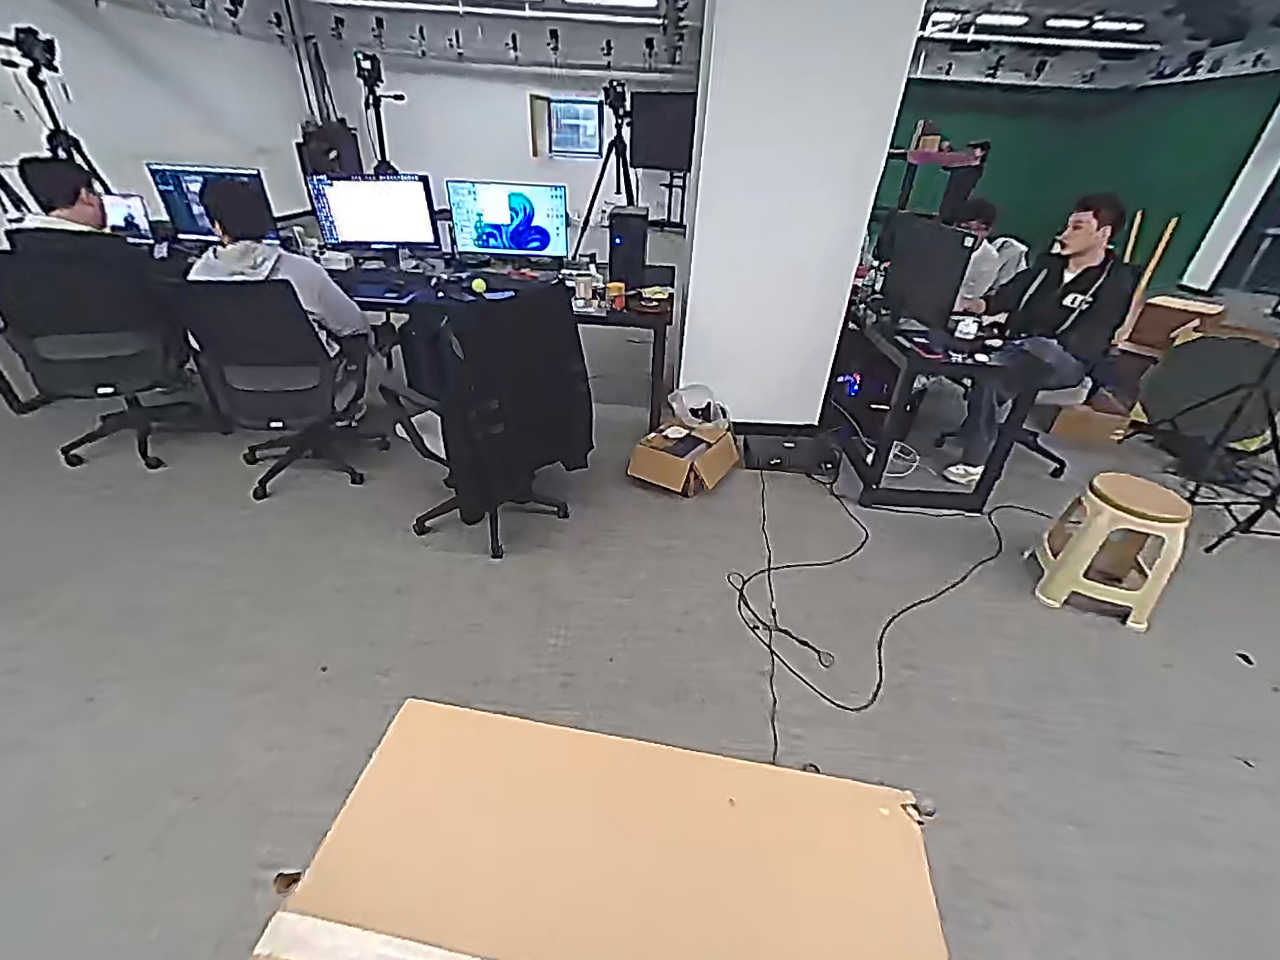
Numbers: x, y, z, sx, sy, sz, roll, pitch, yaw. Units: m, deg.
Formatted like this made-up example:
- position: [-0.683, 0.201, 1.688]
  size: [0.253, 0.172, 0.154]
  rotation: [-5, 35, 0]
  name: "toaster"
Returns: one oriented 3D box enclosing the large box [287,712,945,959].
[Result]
- position: [-0.022, 0.425, 0.404]
  size: [0.408, 0.320, 0.320]
  rotation: [8, 38, 7]
  name: "large box"
